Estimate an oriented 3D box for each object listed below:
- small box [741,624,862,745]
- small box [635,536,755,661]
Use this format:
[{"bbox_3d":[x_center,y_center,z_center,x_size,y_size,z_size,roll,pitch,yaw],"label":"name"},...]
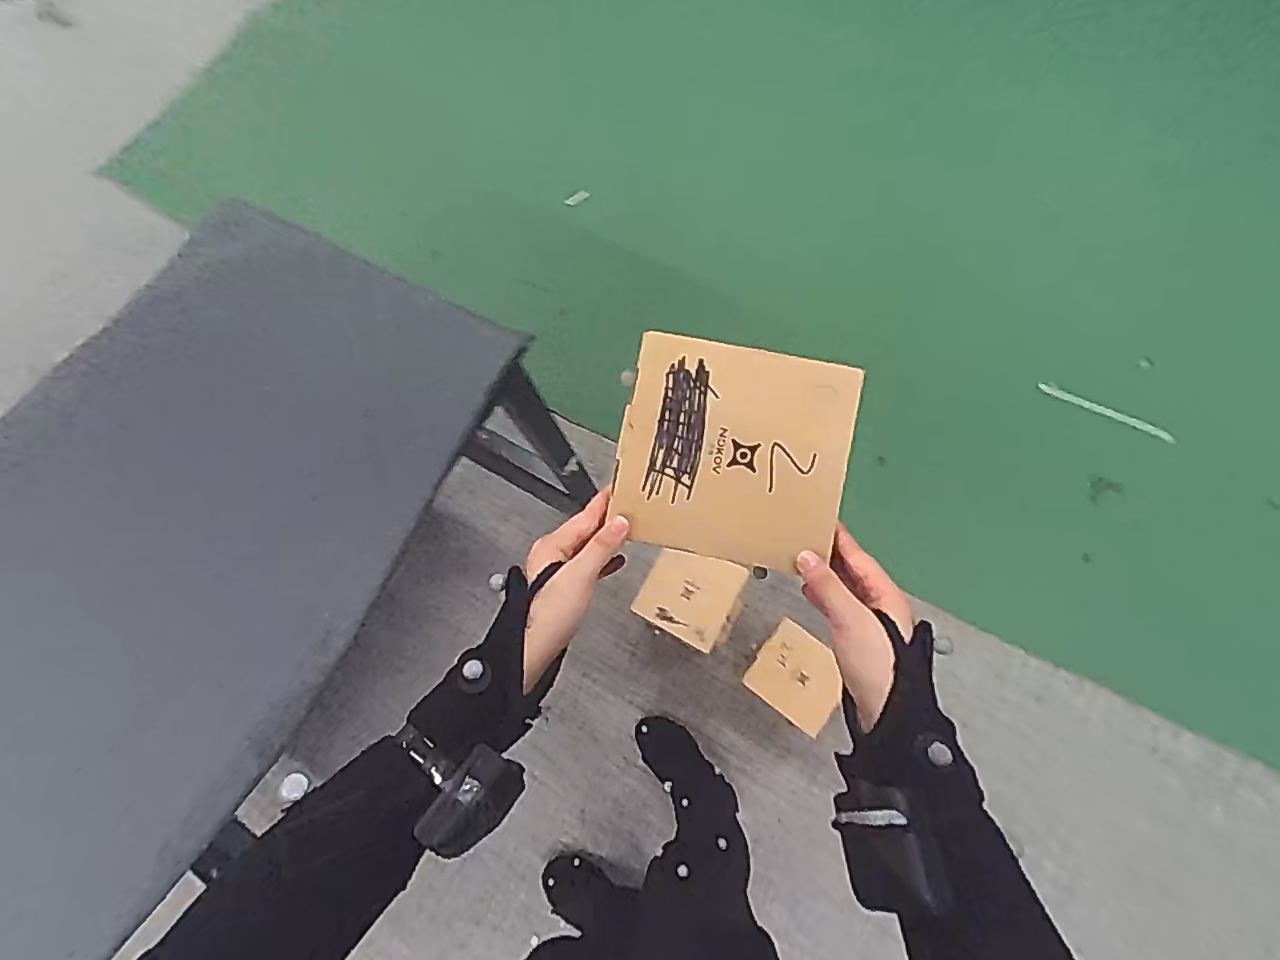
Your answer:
[{"bbox_3d":[0.337,0.430,1.161,0.179,0.176,0.168,36,79,16],"label":"small box"},{"bbox_3d":[0.107,0.240,1.077,0.168,0.176,0.179,28,76,14],"label":"small box"}]
